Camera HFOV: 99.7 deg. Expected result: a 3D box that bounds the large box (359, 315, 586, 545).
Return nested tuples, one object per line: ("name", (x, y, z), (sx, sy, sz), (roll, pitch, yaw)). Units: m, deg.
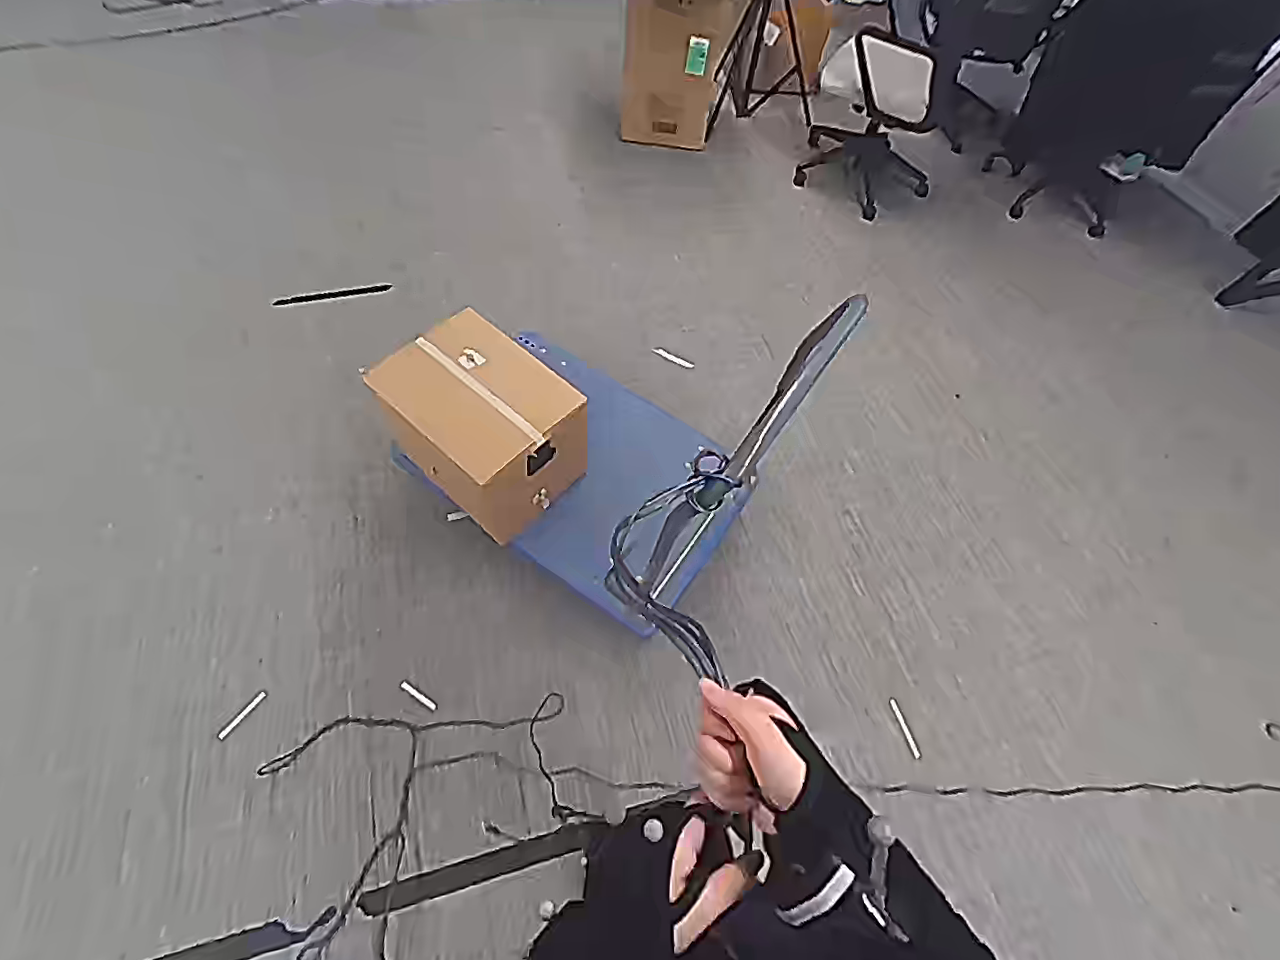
("large box", (-0.379, -0.116, 1.323), (0.408, 0.320, 0.320), (38, 63, 16))
